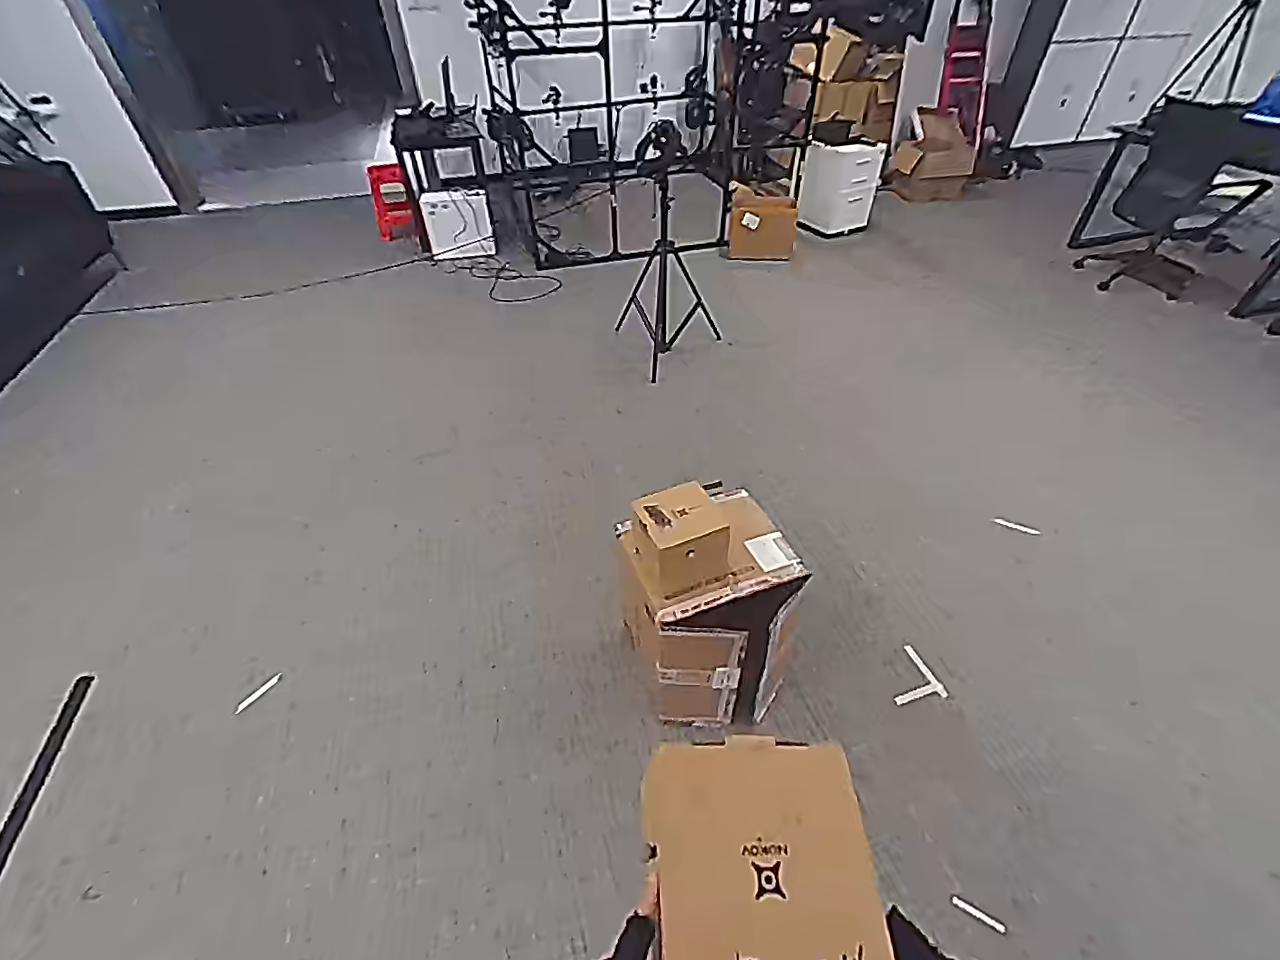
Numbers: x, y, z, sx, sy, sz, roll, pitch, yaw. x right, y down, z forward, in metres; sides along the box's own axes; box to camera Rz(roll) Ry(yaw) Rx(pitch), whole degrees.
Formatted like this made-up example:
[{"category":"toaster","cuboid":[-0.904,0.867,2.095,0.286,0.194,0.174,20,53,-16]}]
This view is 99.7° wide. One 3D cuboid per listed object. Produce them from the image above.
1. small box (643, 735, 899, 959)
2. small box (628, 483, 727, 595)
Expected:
[{"category":"small box","cuboid":[0.092,0.340,0.472,0.168,0.176,0.179,2,50,-4]},{"category":"small box","cuboid":[0.087,0.140,1.258,0.179,0.176,0.168,-17,43,-15]}]
